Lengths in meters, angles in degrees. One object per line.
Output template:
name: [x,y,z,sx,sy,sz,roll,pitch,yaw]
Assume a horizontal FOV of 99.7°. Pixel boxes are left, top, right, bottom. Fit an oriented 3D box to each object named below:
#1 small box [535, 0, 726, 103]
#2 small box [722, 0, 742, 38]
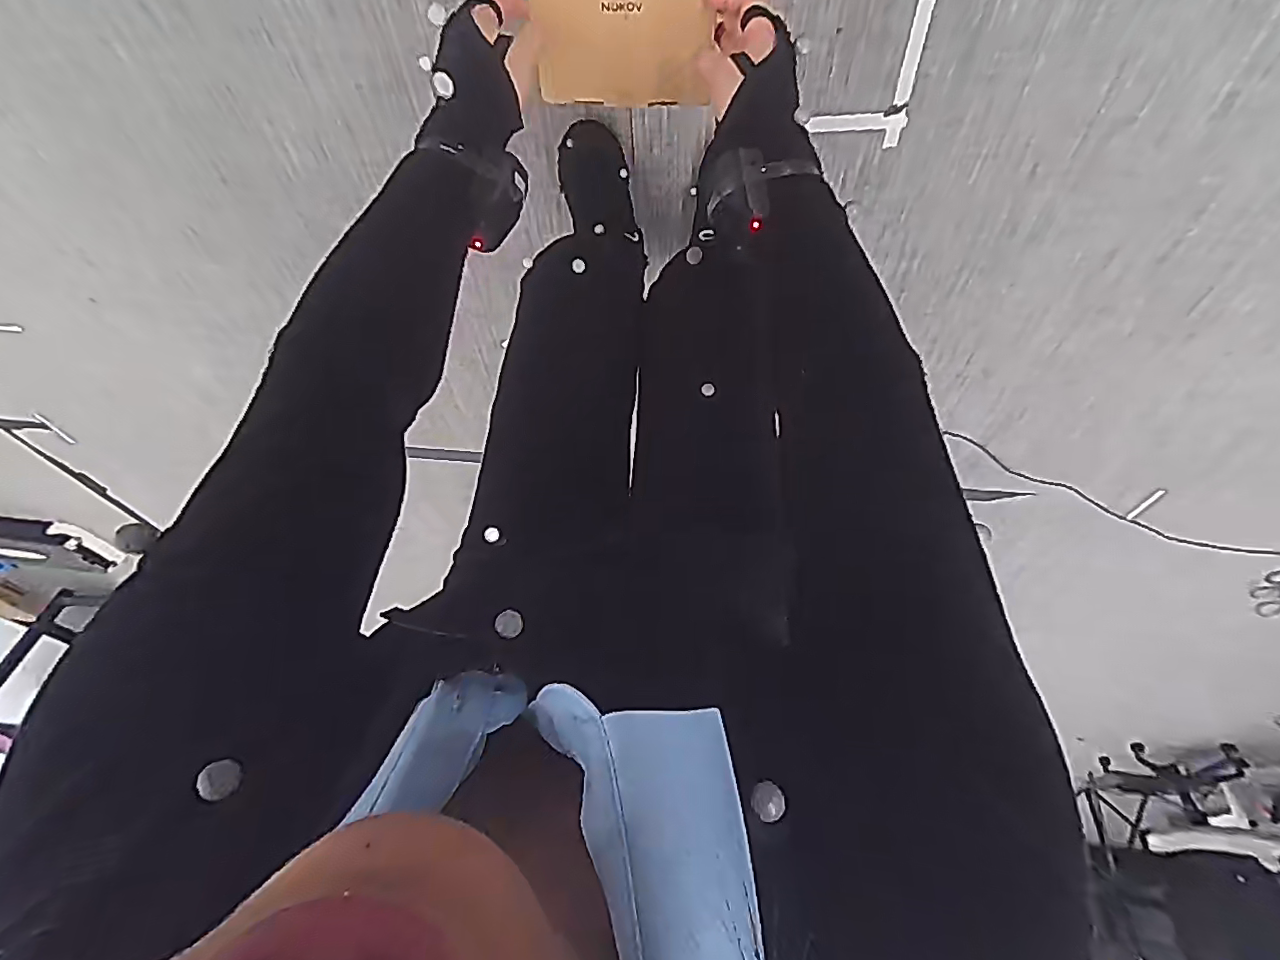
small box: [-0.002,-0.479,0.498,0.168,0.176,0.179,4,144,5]
small box: [0.022,-0.604,0.599,0.168,0.176,0.179,-3,142,15]
